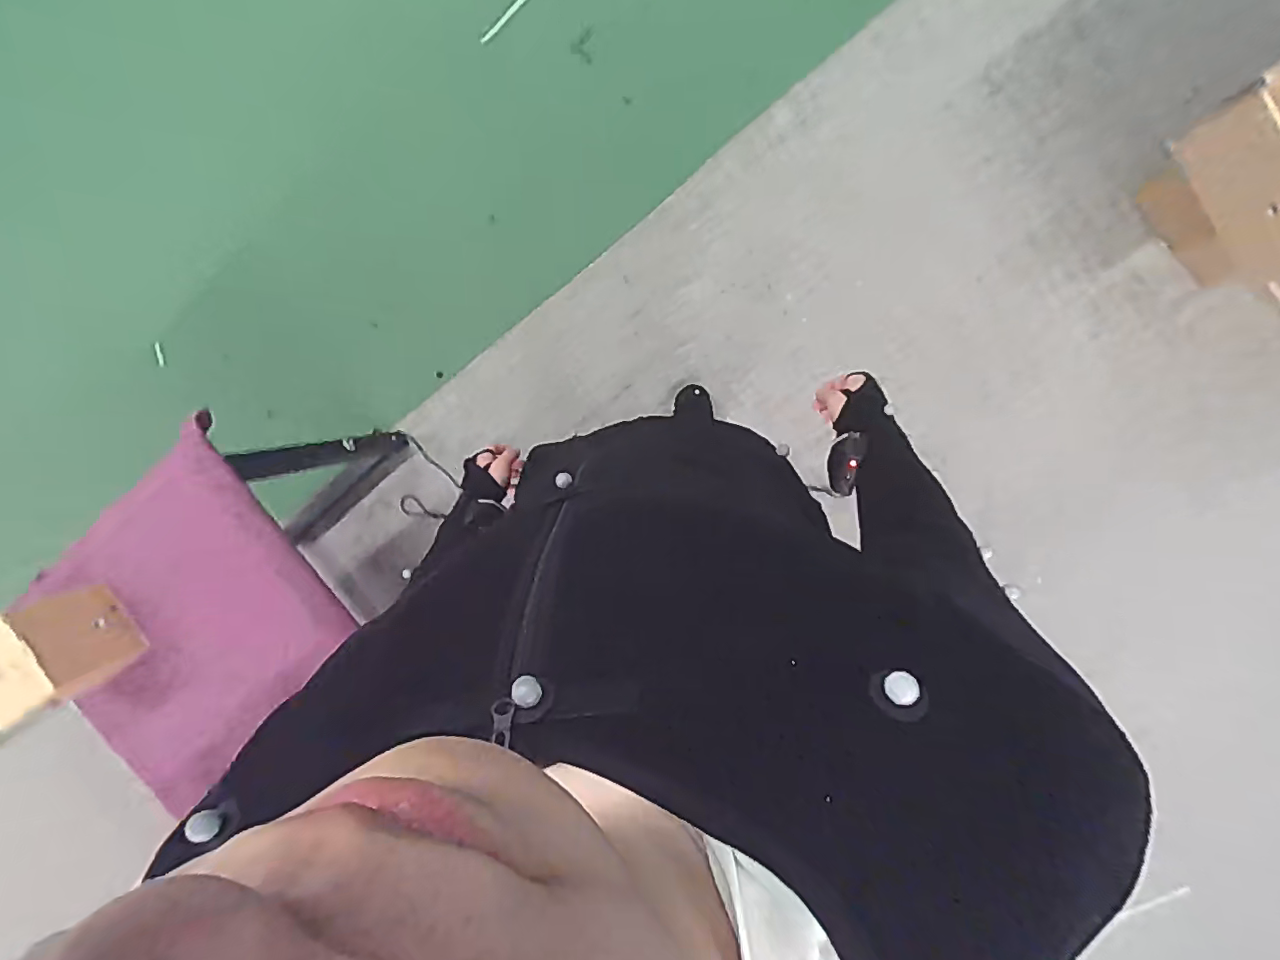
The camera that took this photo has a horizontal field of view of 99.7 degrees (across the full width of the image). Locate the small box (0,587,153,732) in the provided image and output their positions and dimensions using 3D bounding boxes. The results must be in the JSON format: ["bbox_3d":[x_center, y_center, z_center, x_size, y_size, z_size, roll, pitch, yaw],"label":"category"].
[{"bbox_3d":[-1.108,0.335,1.037,0.179,0.176,0.168,-32,94,12],"label":"small box"}]

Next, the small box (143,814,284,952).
[{"bbox_3d":[-0.793,0.749,1.061,0.179,0.176,0.168,-38,92,12],"label":"small box"}]
